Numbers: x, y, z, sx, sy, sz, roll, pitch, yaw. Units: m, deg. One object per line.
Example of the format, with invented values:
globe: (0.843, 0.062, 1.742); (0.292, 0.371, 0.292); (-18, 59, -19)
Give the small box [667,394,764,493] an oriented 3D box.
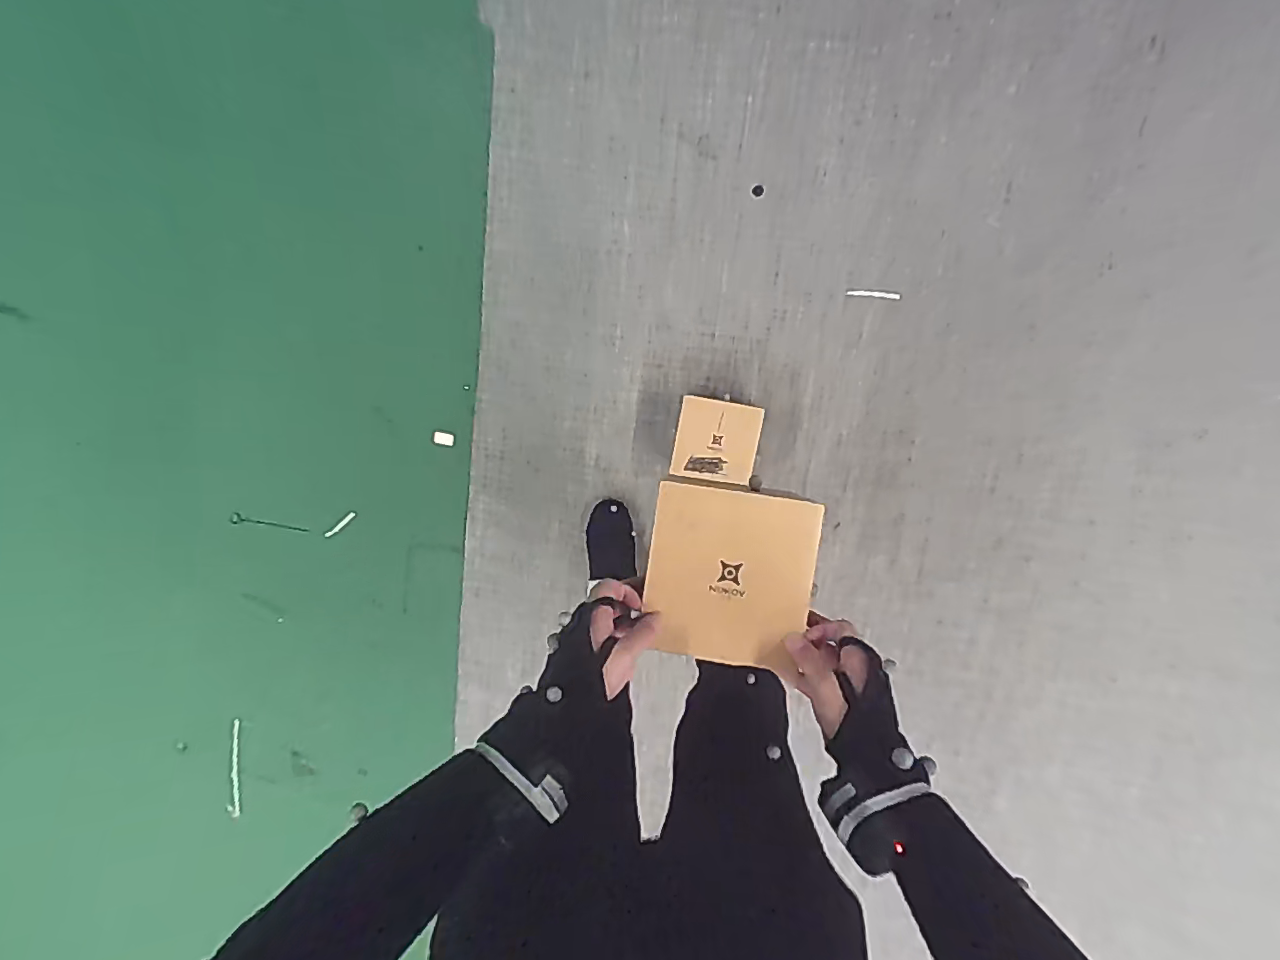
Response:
small box: (0.161, -0.083, 1.166); (0.168, 0.176, 0.179); (12, 99, 5)
